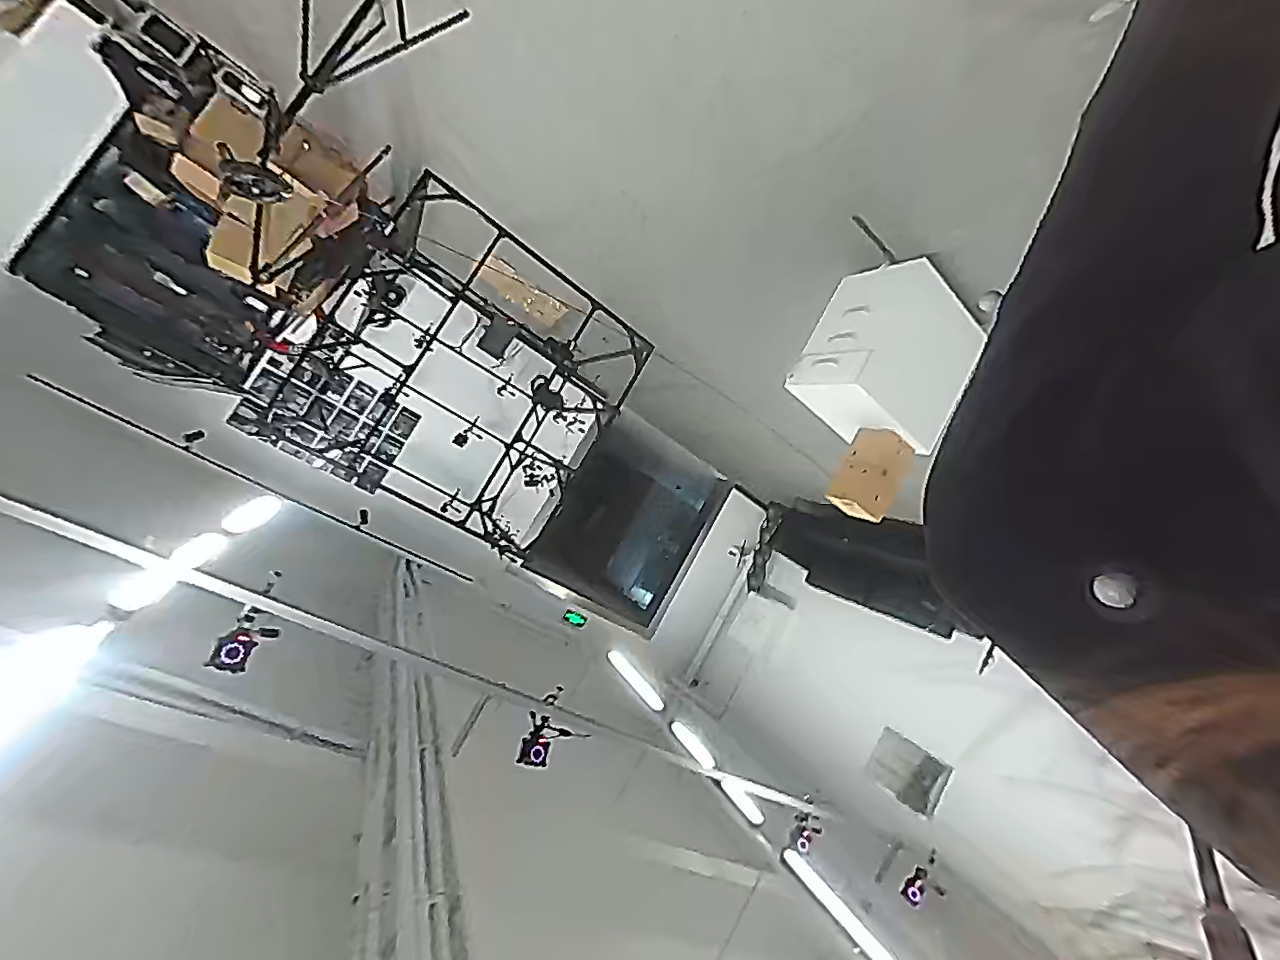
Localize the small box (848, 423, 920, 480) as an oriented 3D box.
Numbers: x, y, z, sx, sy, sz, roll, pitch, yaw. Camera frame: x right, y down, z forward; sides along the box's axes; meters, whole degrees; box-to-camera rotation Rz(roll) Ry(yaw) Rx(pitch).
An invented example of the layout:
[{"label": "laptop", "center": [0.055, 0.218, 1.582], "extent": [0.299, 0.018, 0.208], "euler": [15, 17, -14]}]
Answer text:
[{"label": "small box", "center": [0.999, -0.122, 2.213], "extent": [0.168, 0.176, 0.179], "euler": [32, 175, -25]}]

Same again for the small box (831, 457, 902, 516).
[{"label": "small box", "center": [0.921, 0.022, 2.196], "extent": [0.179, 0.176, 0.168], "euler": [31, 176, -26]}]
